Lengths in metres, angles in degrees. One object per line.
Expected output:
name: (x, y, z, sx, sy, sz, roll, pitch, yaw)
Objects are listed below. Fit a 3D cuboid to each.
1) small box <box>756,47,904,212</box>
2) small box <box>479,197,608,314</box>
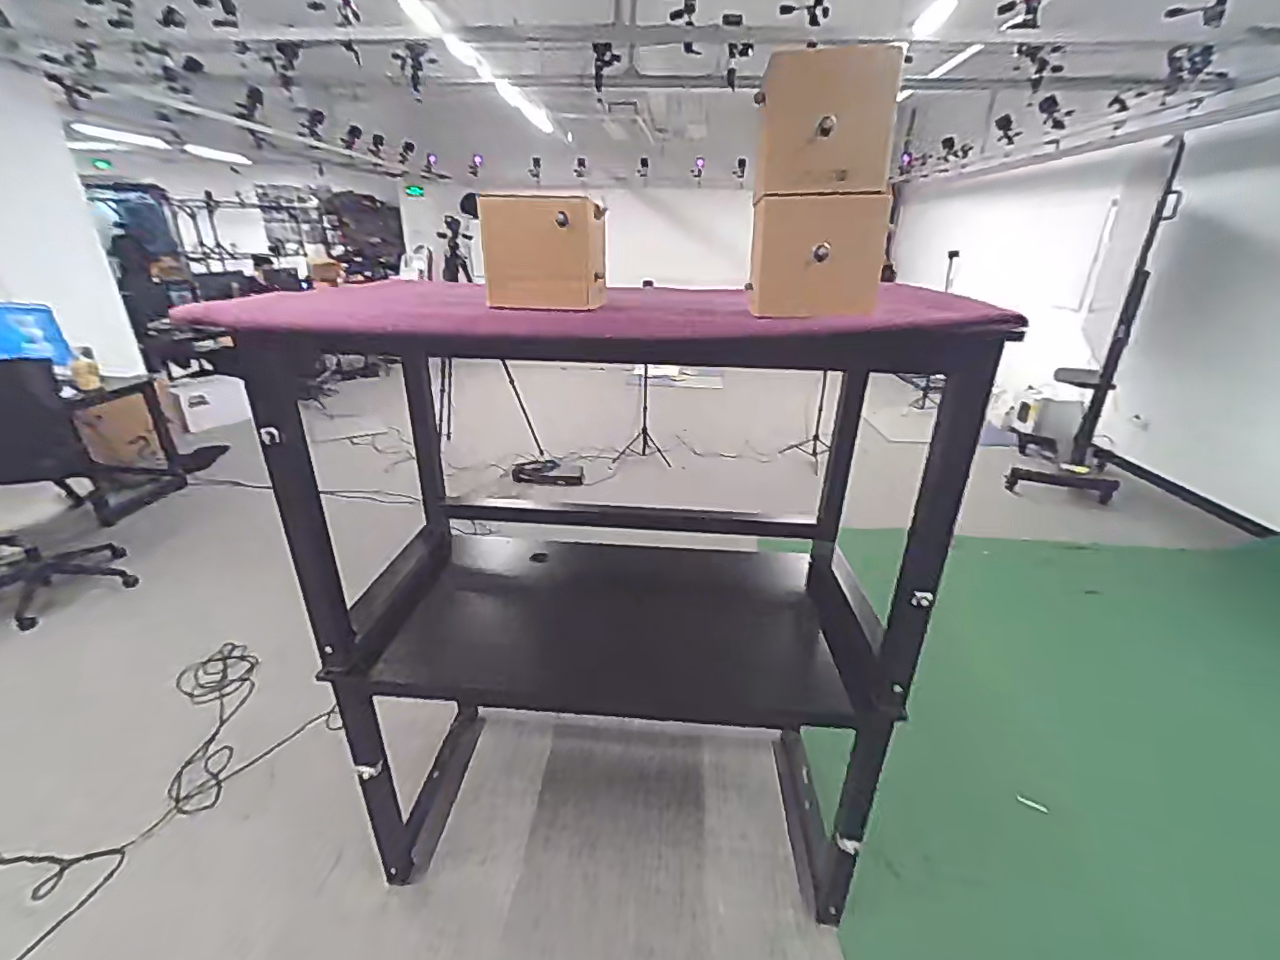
small box: (0.263, -0.495, 0.789, 0.168, 0.176, 0.179, 2, 21, 6)
small box: (-0.153, -0.374, 0.917, 0.179, 0.176, 0.168, 4, 22, 5)
